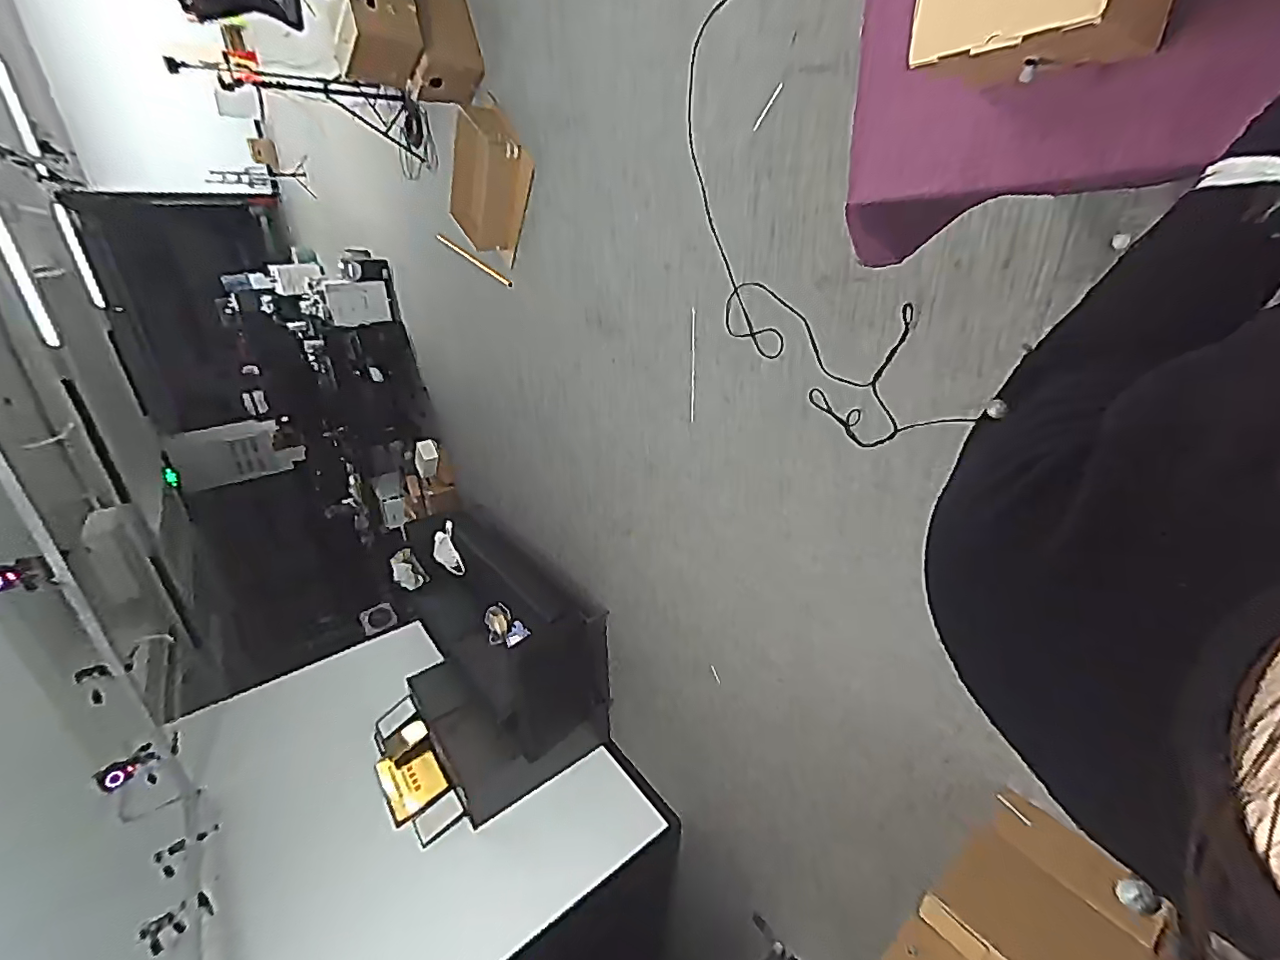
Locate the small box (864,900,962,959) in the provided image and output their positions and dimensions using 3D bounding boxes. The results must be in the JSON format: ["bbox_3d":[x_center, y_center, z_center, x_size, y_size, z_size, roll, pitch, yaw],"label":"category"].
[{"bbox_3d":[0.718,1.277,1.442,0.179,0.176,0.168,25,128,44],"label":"small box"}]

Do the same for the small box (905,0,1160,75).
[{"bbox_3d":[0.384,-0.503,0.507,0.168,0.176,0.179,27,128,45],"label":"small box"}]
